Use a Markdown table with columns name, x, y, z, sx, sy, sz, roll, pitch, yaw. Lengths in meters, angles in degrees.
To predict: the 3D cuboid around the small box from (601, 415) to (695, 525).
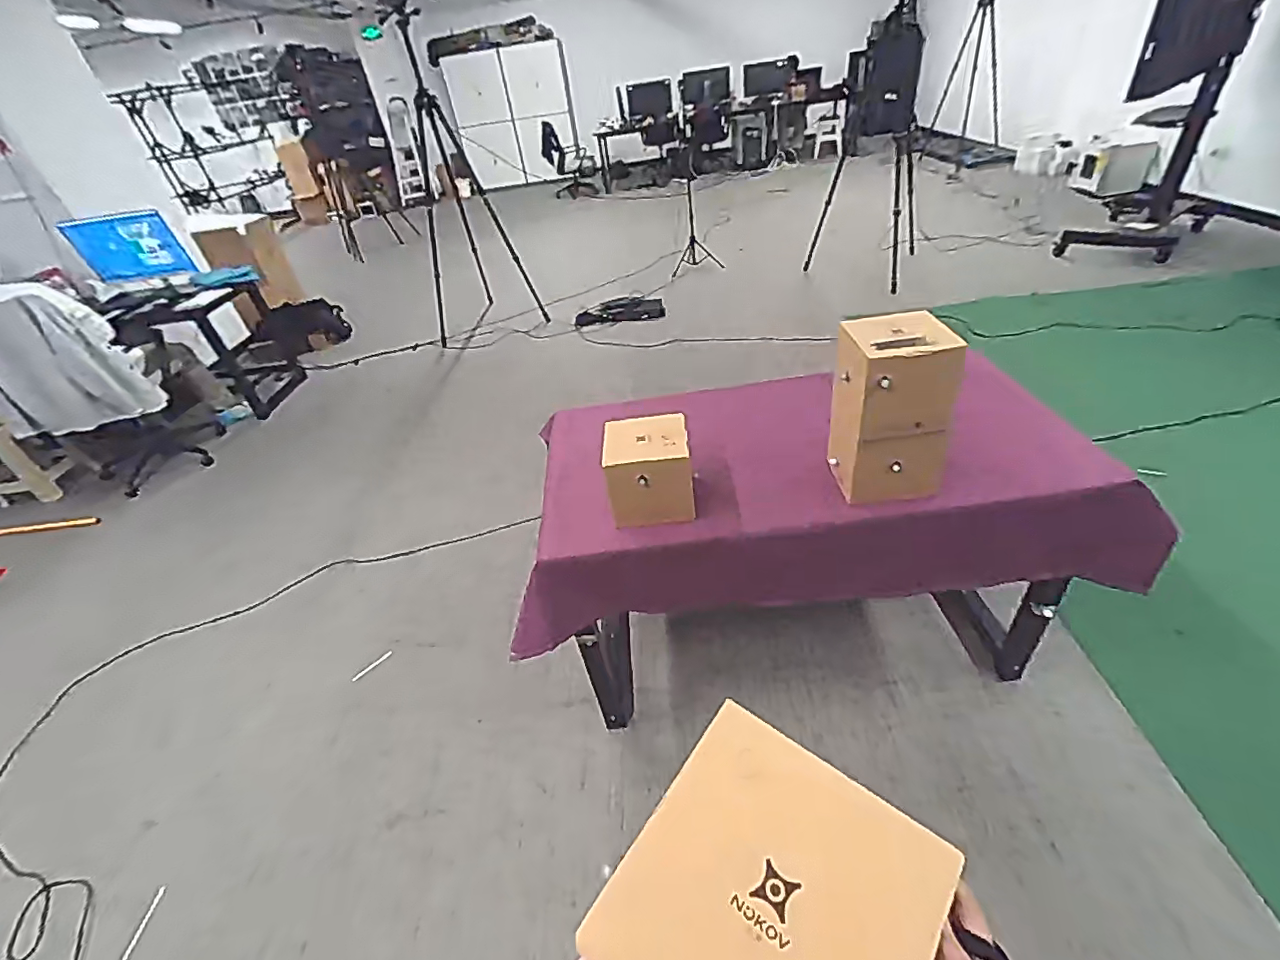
| name | x | y | z | sx | sy | sz | roll | pitch | yaw |
| --- | --- | --- | --- | --- | --- | --- | --- | --- | --- |
| small box | 0.022 | -0.018 | 1.163 | 0.179 | 0.176 | 0.168 | -6 | 38 | 5 |

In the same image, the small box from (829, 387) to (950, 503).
| name | x | y | z | sx | sy | sz | roll | pitch | yaw |
| --- | --- | --- | --- | --- | --- | --- | --- | --- | --- |
| small box | 0.503 | -0.070 | 1.120 | 0.179 | 0.176 | 0.168 | -7 | 37 | 6 |
